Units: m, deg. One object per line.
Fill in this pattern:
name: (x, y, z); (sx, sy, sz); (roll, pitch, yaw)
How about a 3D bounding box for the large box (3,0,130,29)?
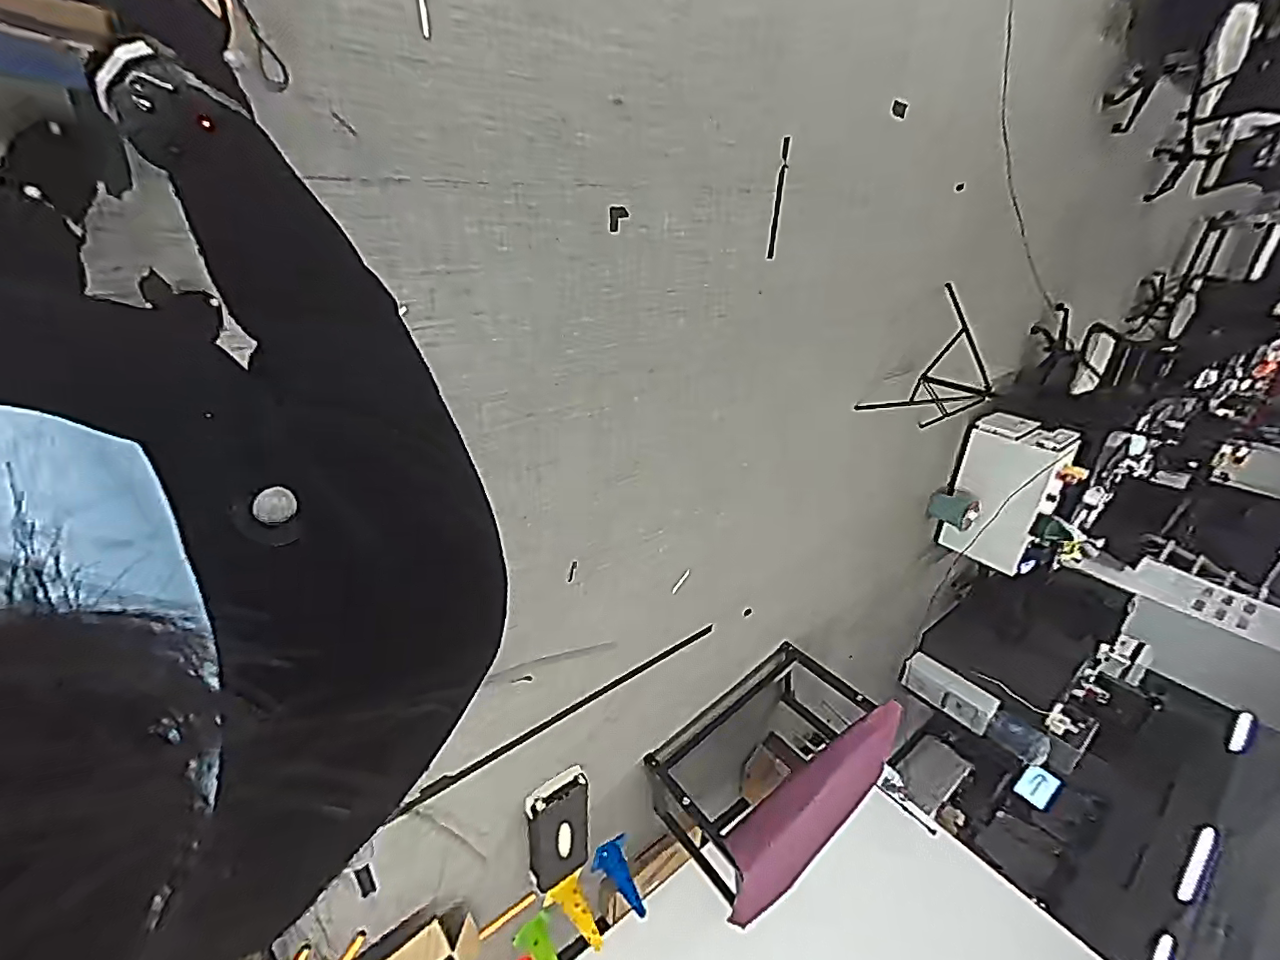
large box: (-0.825, -0.735, 0.545); (0.408, 0.320, 0.320); (-12, 120, -38)
